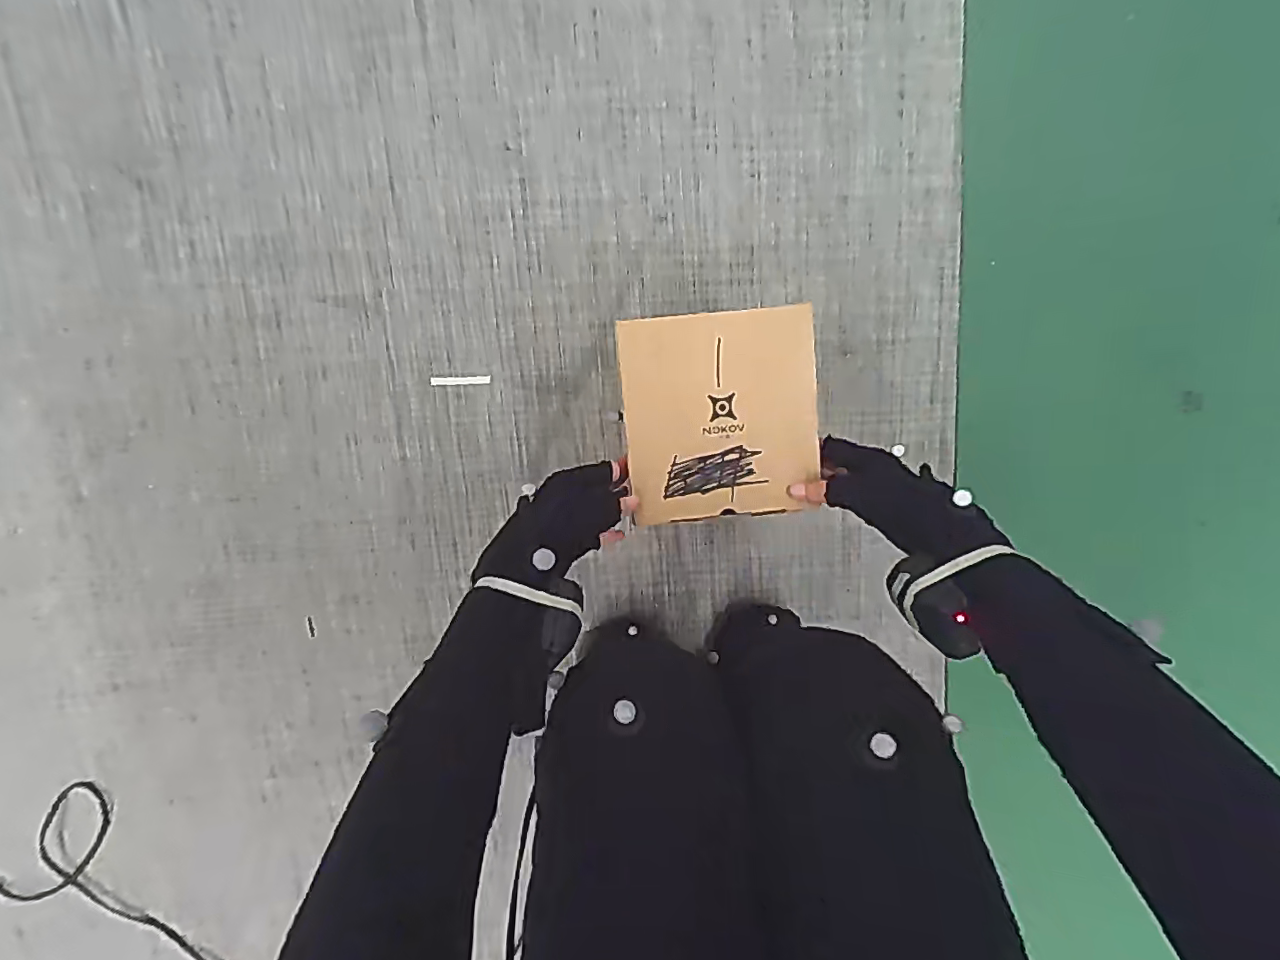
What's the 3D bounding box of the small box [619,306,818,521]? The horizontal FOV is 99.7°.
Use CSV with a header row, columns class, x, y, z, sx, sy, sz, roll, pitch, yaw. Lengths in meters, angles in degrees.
class,x,y,z,sx,sy,sz,roll,pitch,yaw
small box,0.068,-0.065,0.537,0.168,0.176,0.179,-4,97,-1
